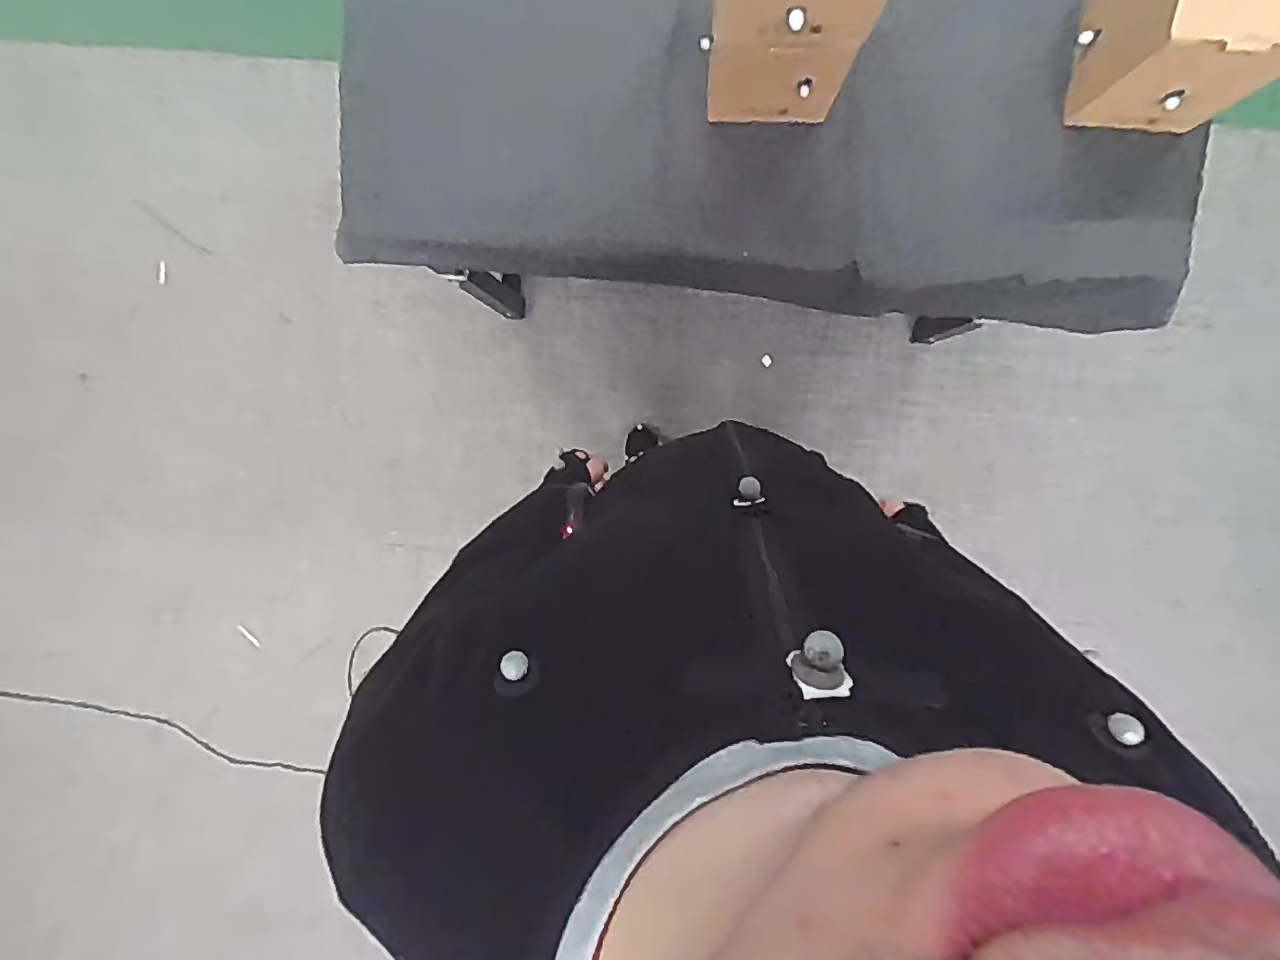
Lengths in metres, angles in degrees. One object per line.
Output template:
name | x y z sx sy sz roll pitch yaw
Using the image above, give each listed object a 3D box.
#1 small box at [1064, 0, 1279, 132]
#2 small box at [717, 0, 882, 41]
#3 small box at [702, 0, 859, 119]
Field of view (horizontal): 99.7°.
small box | 0.653 -0.548 0.642 0.168 0.176 0.179 6 96 2
small box | 0.164 -0.561 0.501 0.168 0.176 0.179 2 97 2
small box | 0.168 -0.579 0.665 0.168 0.176 0.179 3 94 1
